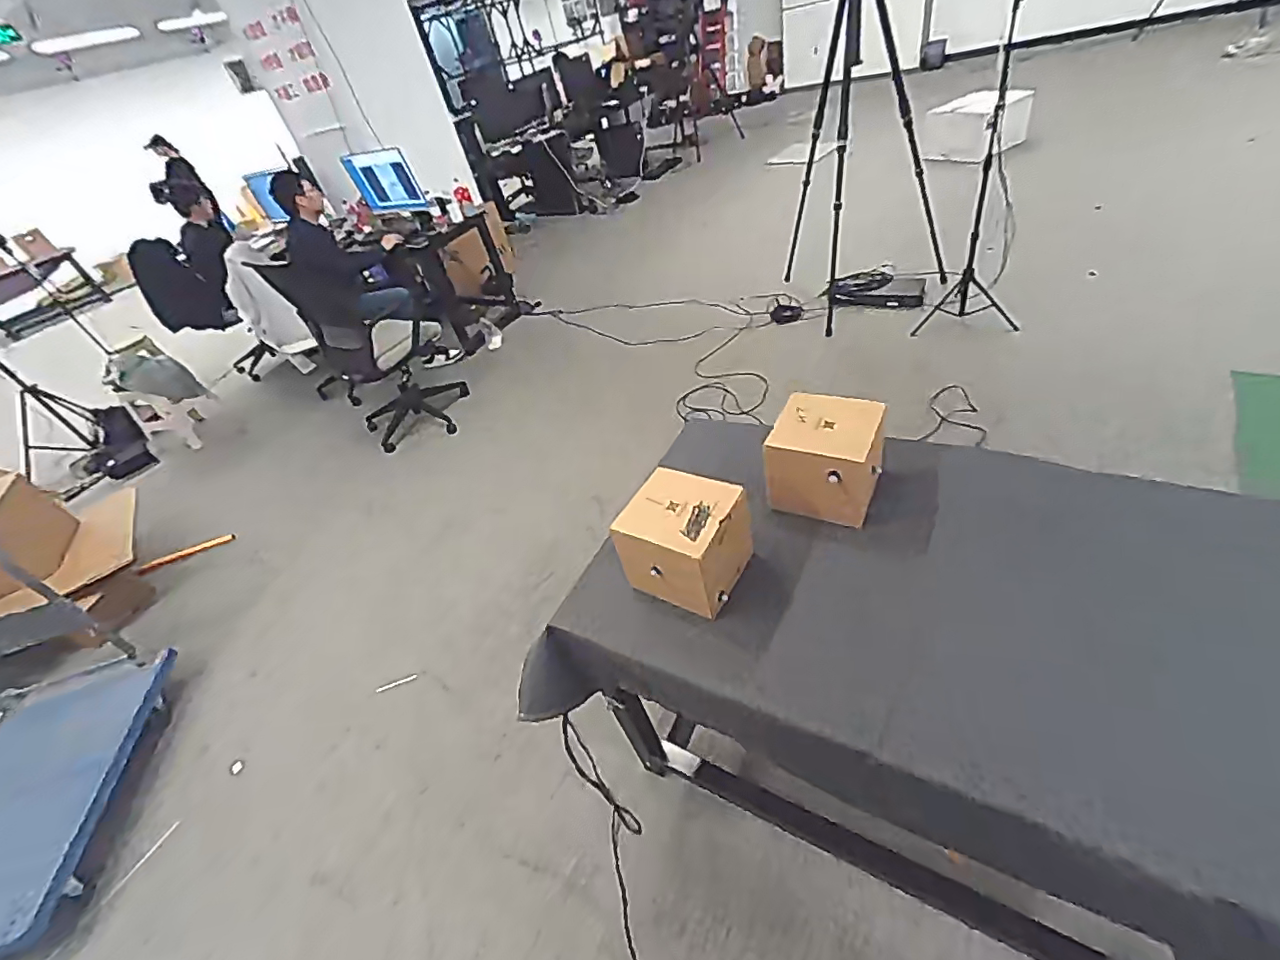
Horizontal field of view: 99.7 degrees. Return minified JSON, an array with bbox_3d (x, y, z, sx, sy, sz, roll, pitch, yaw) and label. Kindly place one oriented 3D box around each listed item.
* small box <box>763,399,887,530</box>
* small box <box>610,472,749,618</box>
[{"bbox_3d":[0.349,-0.028,1.019,0.179,0.176,0.168,13,49,30],"label":"small box"},{"bbox_3d":[0.079,0.116,0.950,0.179,0.176,0.168,15,49,32],"label":"small box"}]
